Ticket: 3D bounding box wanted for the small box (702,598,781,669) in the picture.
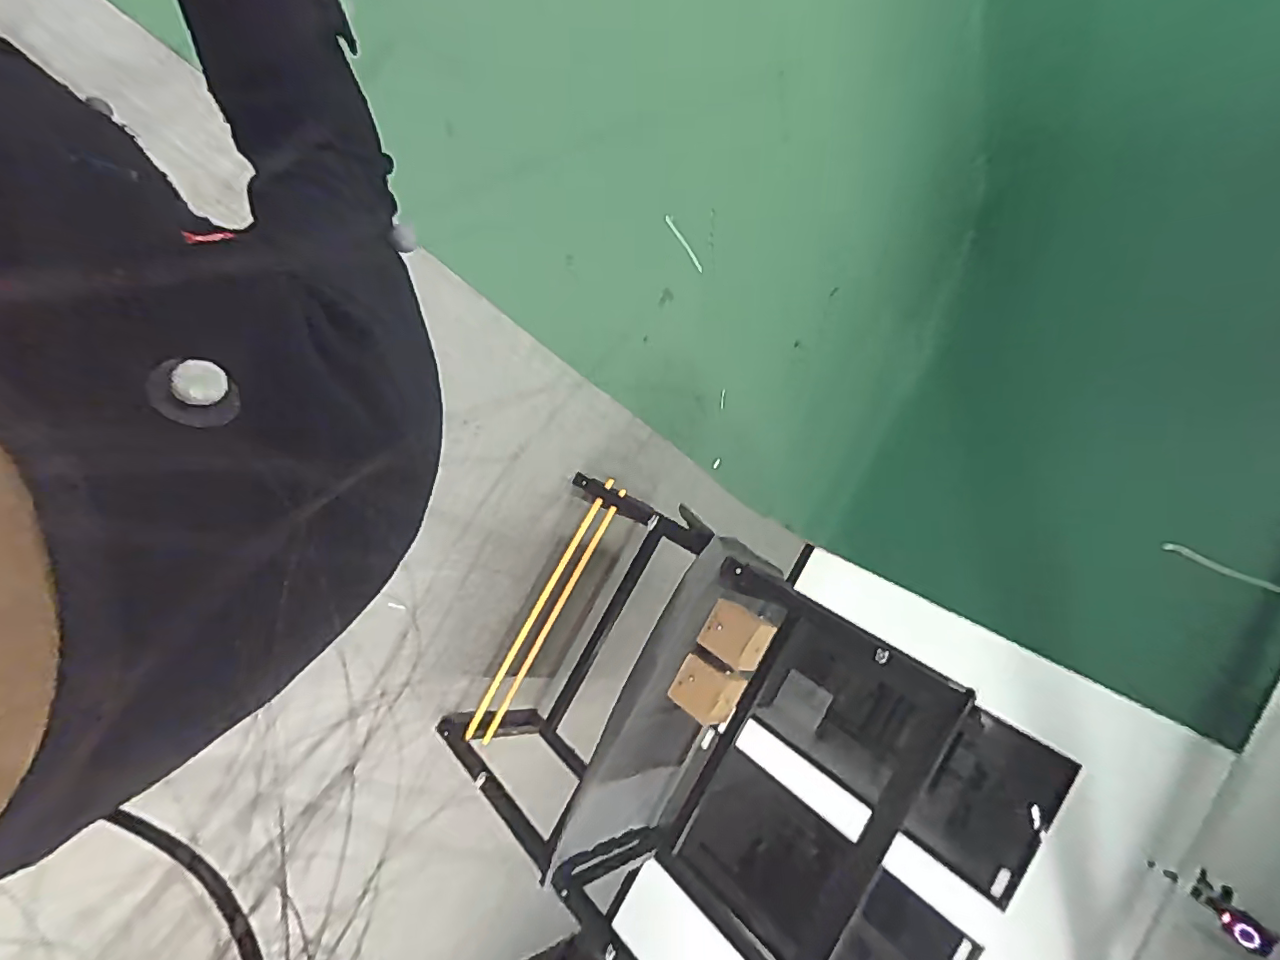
[{"bbox_3d":[0.341,0.516,1.822,0.179,0.176,0.168,30,89,-53],"label":"small box"}]
